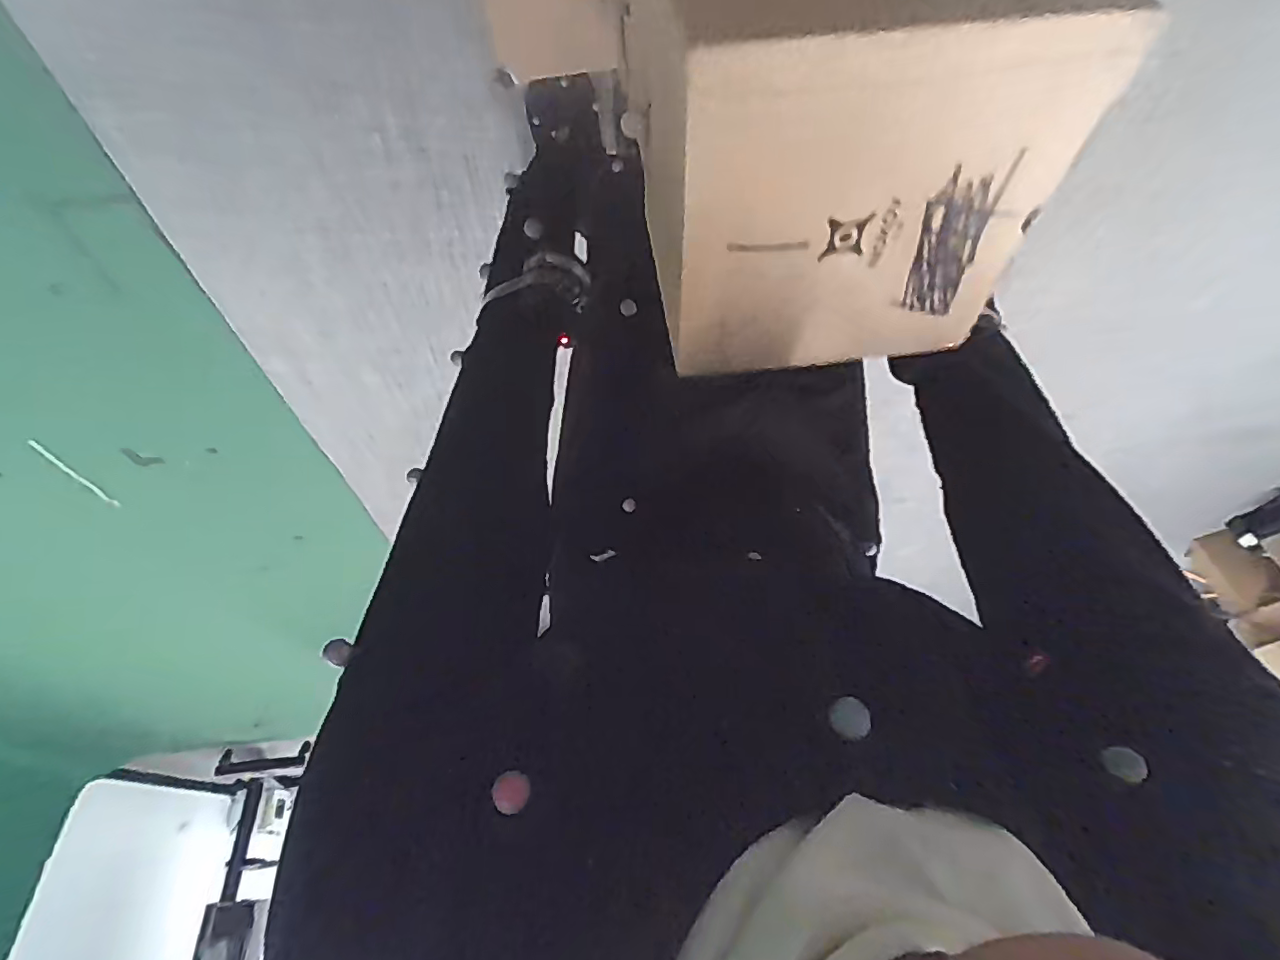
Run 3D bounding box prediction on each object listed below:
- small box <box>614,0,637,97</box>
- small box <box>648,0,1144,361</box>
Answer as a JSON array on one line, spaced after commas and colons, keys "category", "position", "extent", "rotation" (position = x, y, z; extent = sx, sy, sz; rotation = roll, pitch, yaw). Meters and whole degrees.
[{"category": "small box", "position": [0.064, -0.472, 0.477], "extent": [0.179, 0.176, 0.168], "rotation": [-7, 148, -2]}, {"category": "small box", "position": [0.099, -0.191, 0.308], "extent": [0.179, 0.176, 0.168], "rotation": [-5, 147, -1]}]
